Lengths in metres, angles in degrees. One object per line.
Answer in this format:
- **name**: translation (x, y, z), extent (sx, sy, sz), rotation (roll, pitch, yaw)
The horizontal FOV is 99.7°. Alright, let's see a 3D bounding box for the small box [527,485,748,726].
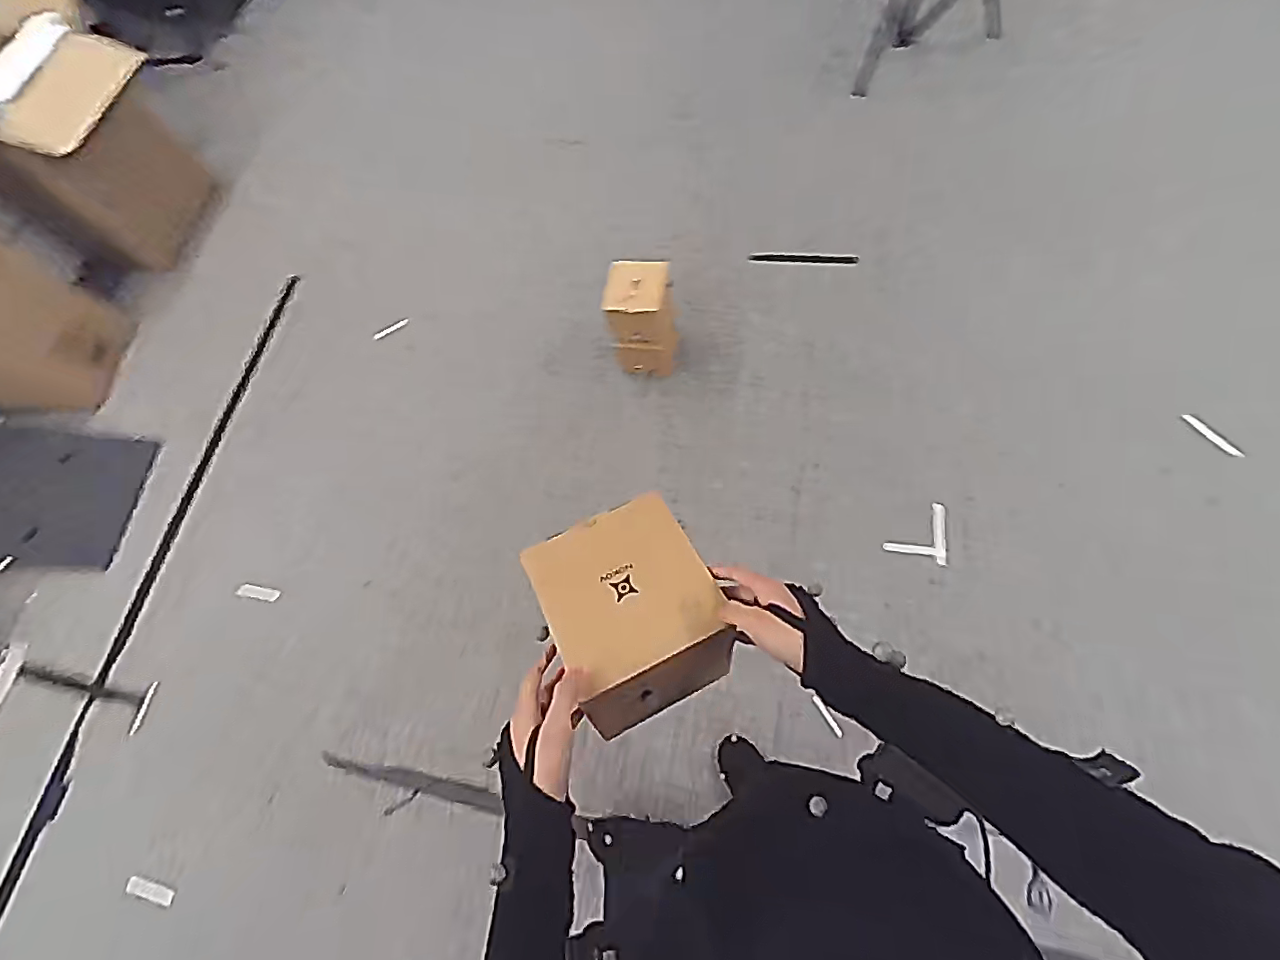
- **small box**: translation (0.000, 0.143, 0.585), extent (0.168, 0.176, 0.179), rotation (-24, 54, -11)

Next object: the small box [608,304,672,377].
- **small box**: translation (0.007, -0.456, 1.747), extent (0.168, 0.176, 0.179), rotation (6, 71, 12)

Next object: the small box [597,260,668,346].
- **small box**: translation (-0.016, -0.521, 1.598), extent (0.168, 0.176, 0.179), rotation (6, 71, 12)
